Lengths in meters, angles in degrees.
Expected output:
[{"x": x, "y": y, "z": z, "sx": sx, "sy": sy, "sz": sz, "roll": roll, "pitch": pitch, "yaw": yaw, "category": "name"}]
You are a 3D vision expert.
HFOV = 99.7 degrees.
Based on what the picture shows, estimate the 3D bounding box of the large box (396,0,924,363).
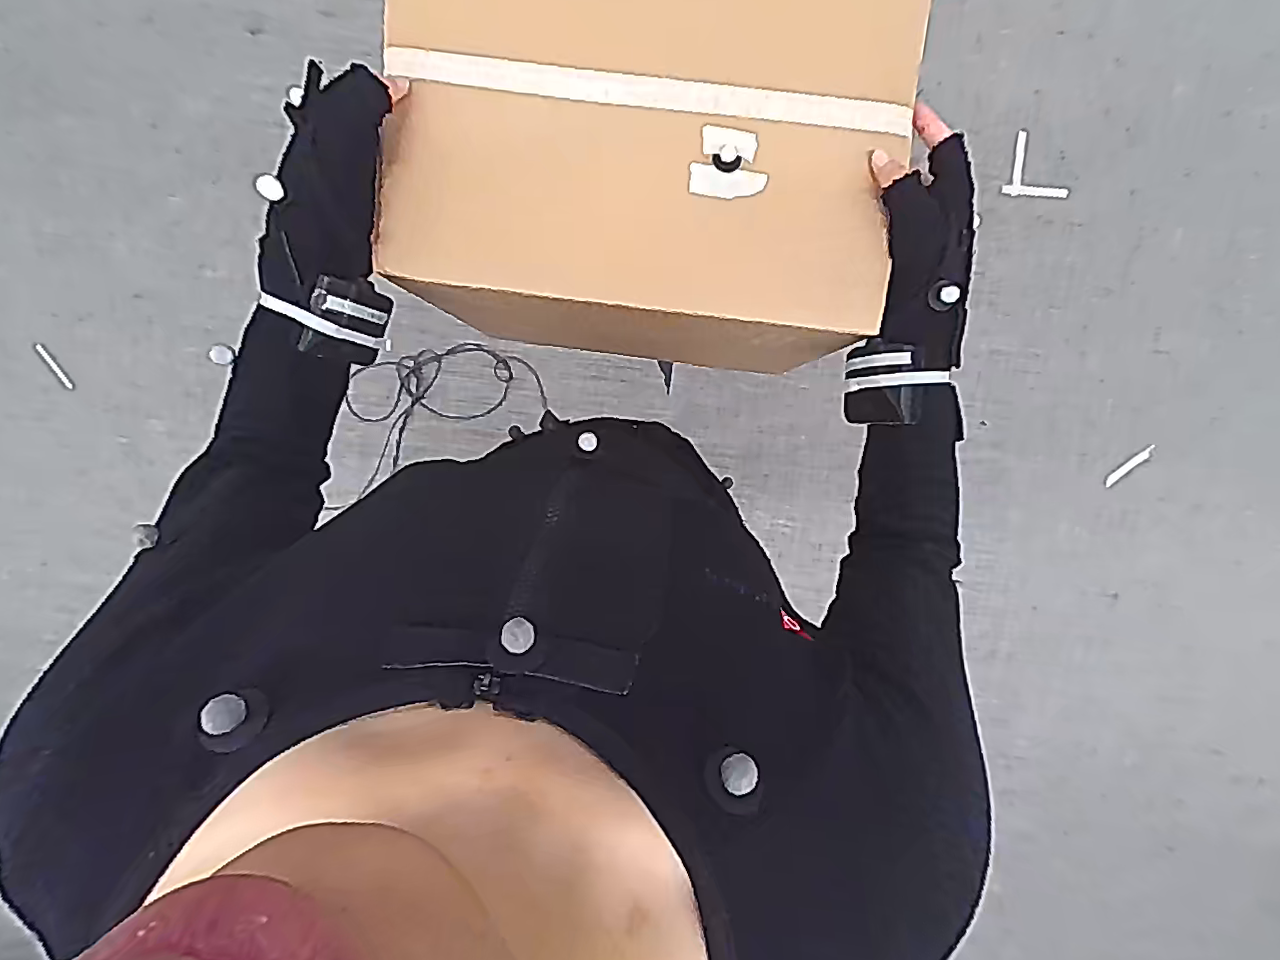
[{"x": 0.013, "y": -0.317, "z": 0.575, "sx": 0.408, "sy": 0.320, "sz": 0.320, "roll": 7, "pitch": 96, "yaw": 0, "category": "large box"}]
